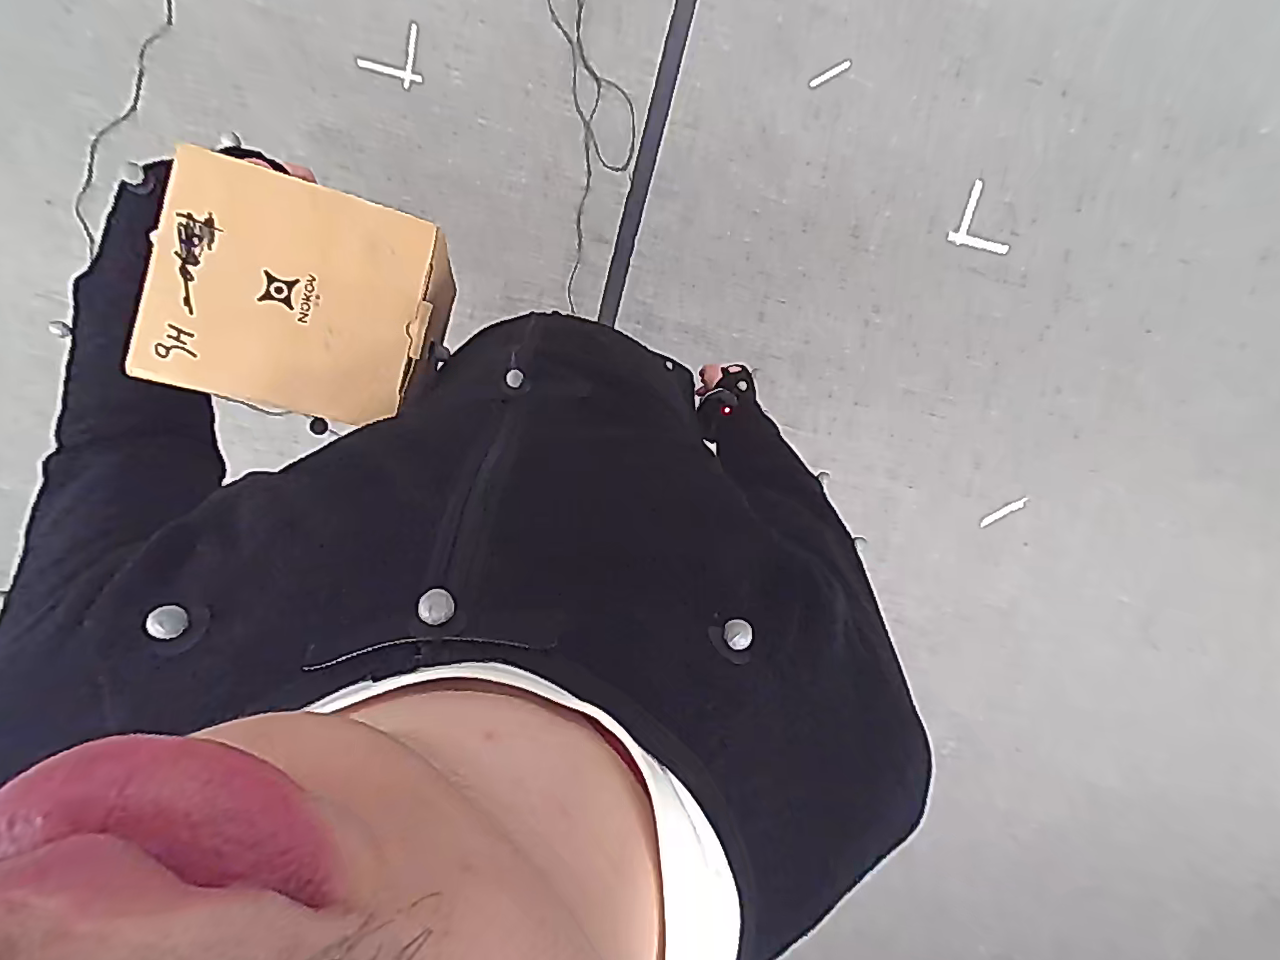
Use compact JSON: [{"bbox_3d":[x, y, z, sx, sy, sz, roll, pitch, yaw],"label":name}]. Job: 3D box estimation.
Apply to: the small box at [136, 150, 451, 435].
[{"bbox_3d":[-0.274,-0.139,0.477,0.179,0.176,0.168,13,89,-16],"label":"small box"}]
